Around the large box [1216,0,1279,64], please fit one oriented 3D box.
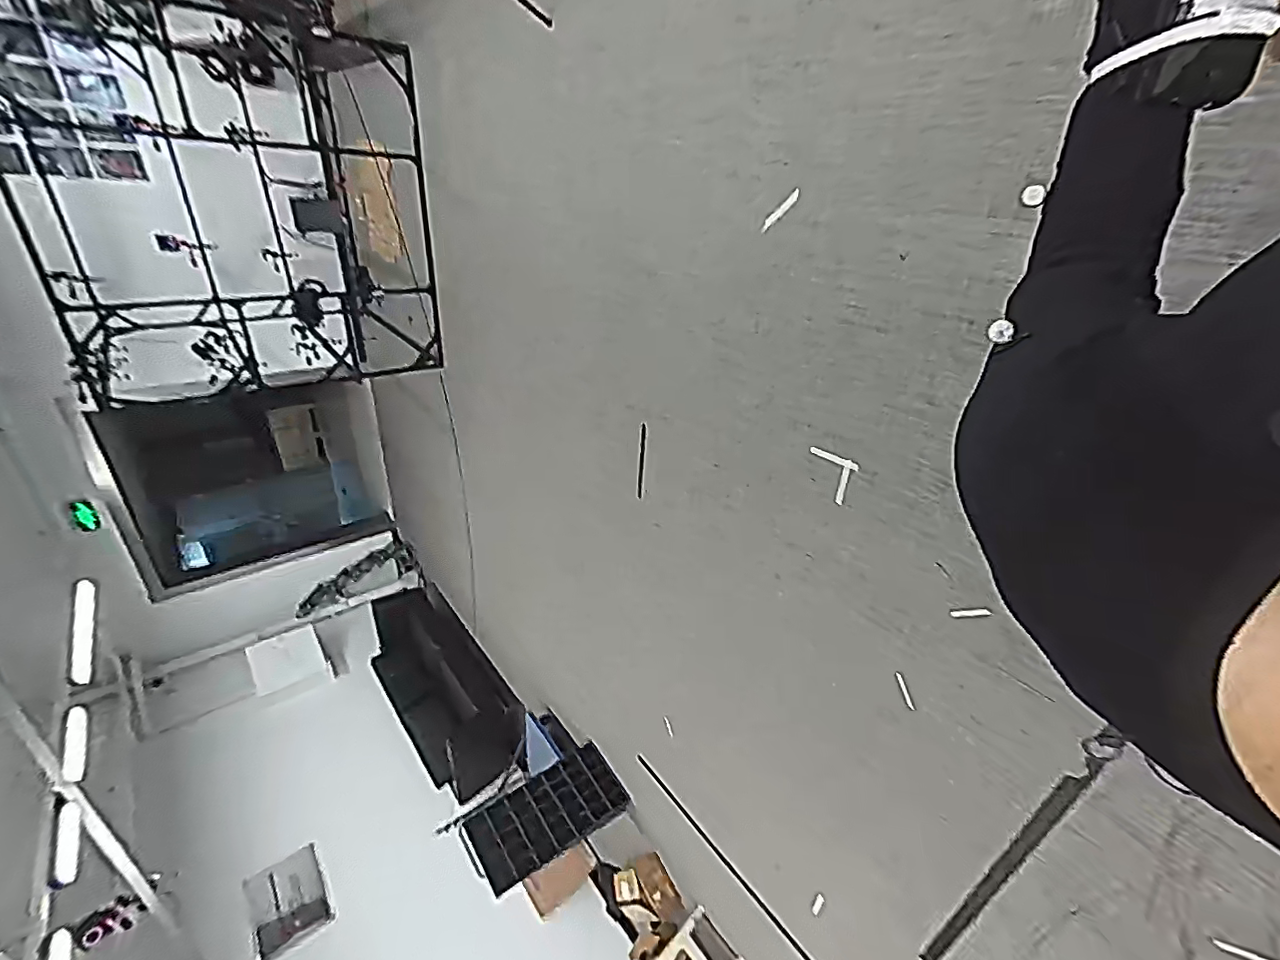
[{"bbox_3d":[0.595,-0.461,0.244,0.408,0.320,0.320,16,123,49],"label":"large box"}]
